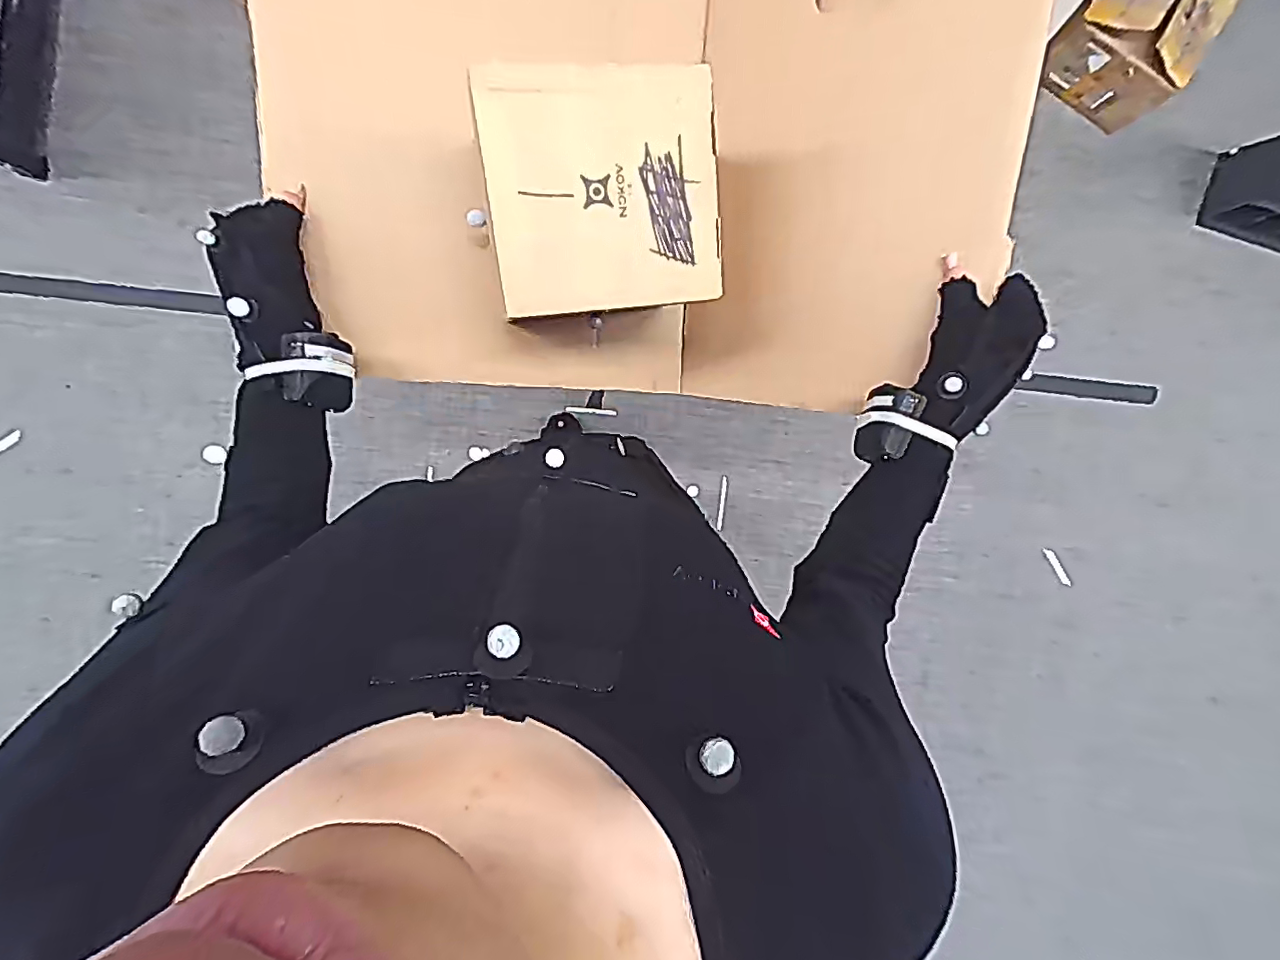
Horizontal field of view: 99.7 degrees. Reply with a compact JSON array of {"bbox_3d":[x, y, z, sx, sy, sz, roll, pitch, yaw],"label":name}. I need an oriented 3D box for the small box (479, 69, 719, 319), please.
[{"bbox_3d":[-0.043,-0.237,0.486,0.179,0.176,0.168,-9,107,-12],"label":"small box"}]
